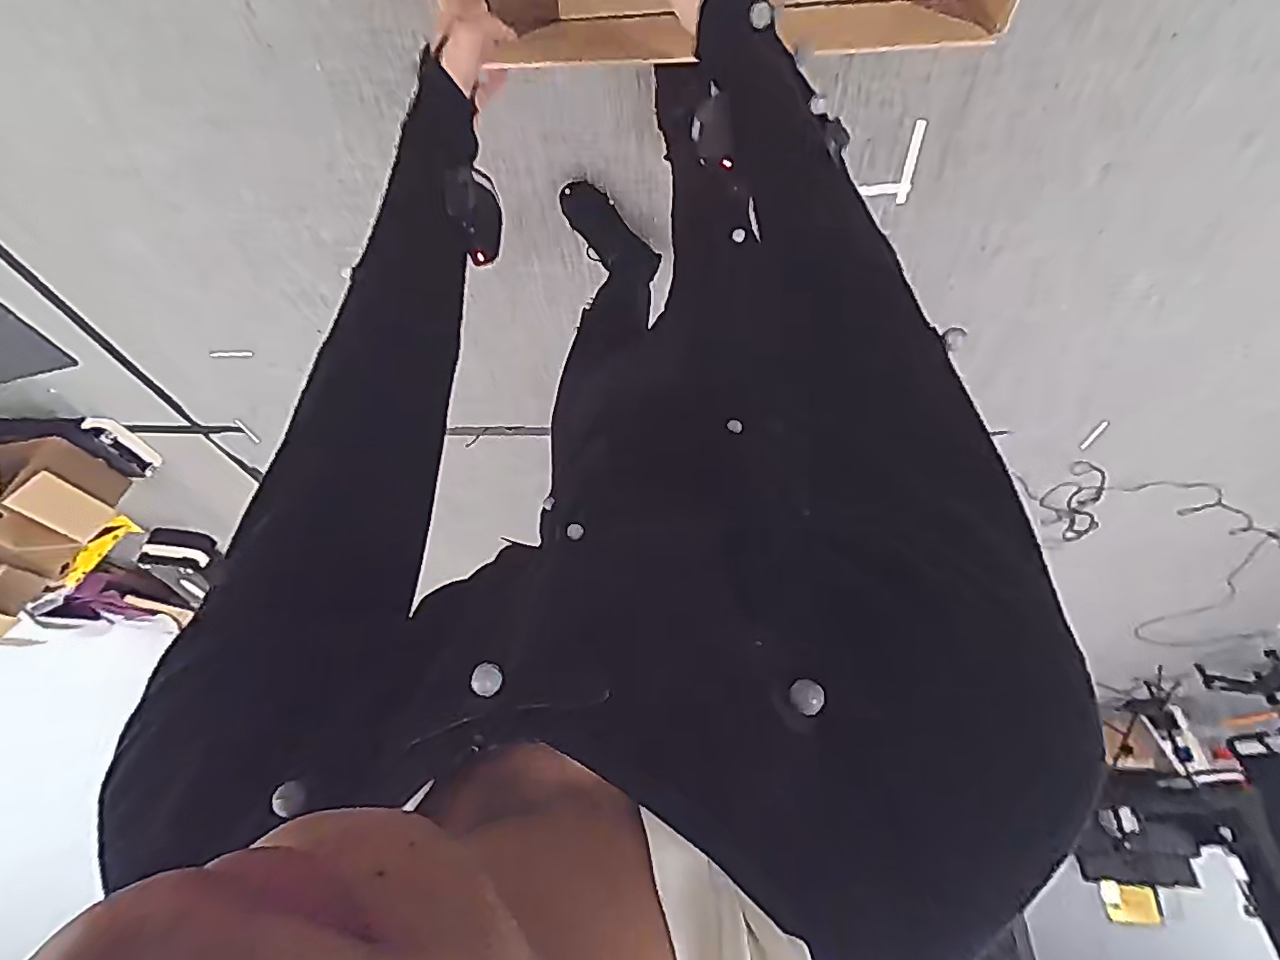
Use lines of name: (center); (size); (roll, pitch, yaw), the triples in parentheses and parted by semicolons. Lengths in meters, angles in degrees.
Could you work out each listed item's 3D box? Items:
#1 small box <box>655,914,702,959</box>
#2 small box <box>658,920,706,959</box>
small box: (0.152, 1.839, 2.144); (0.179, 0.176, 0.168); (2, 145, 4)
small box: (0.148, 1.697, 1.938); (0.168, 0.176, 0.179); (1, 146, 4)
